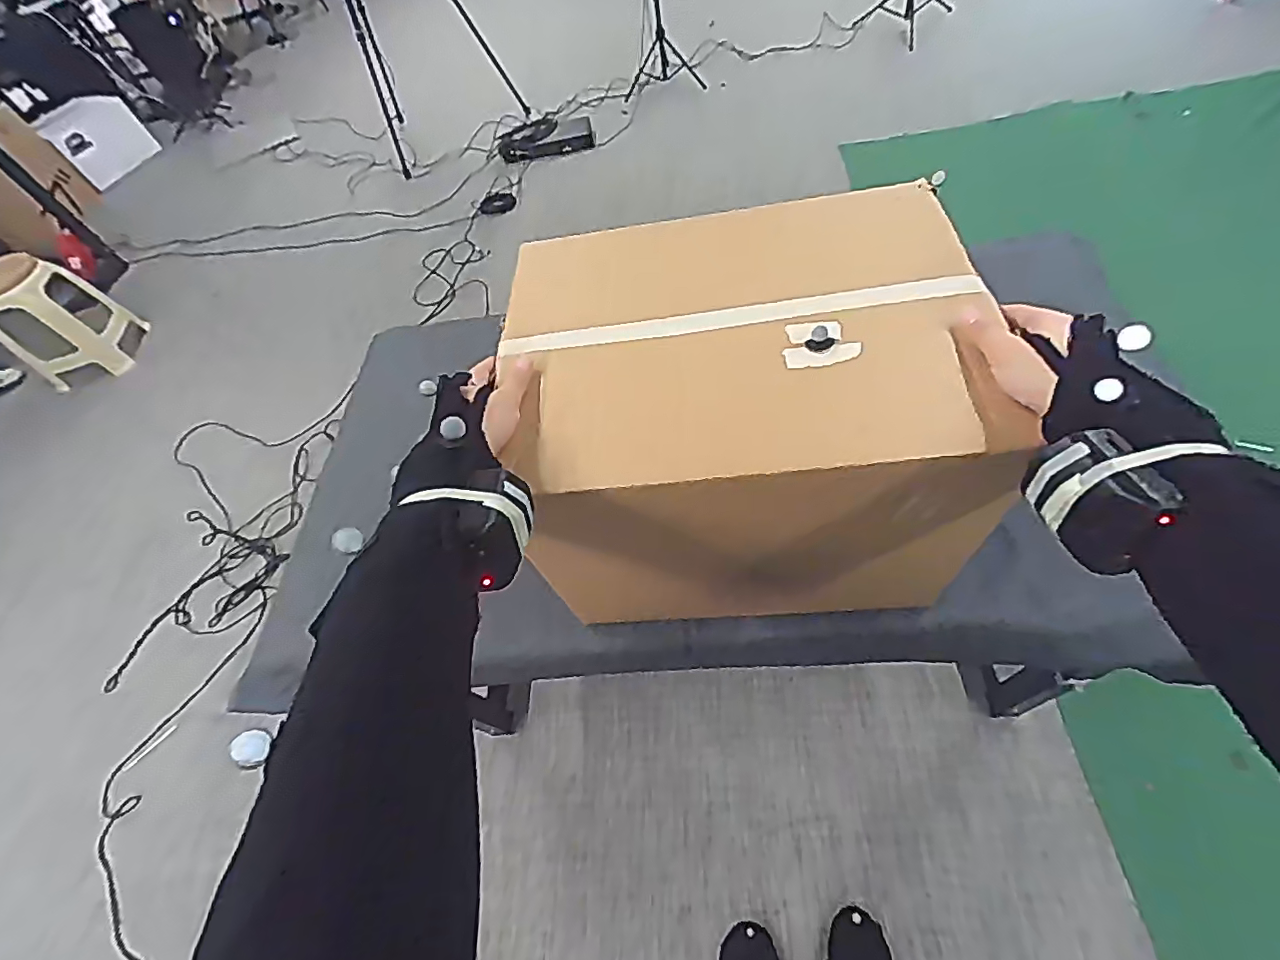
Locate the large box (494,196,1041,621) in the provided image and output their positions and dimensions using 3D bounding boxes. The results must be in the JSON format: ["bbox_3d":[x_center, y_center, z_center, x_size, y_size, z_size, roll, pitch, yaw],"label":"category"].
[{"bbox_3d":[0.099,-0.053,0.595,0.408,0.320,0.320,-5,57,7],"label":"large box"}]
